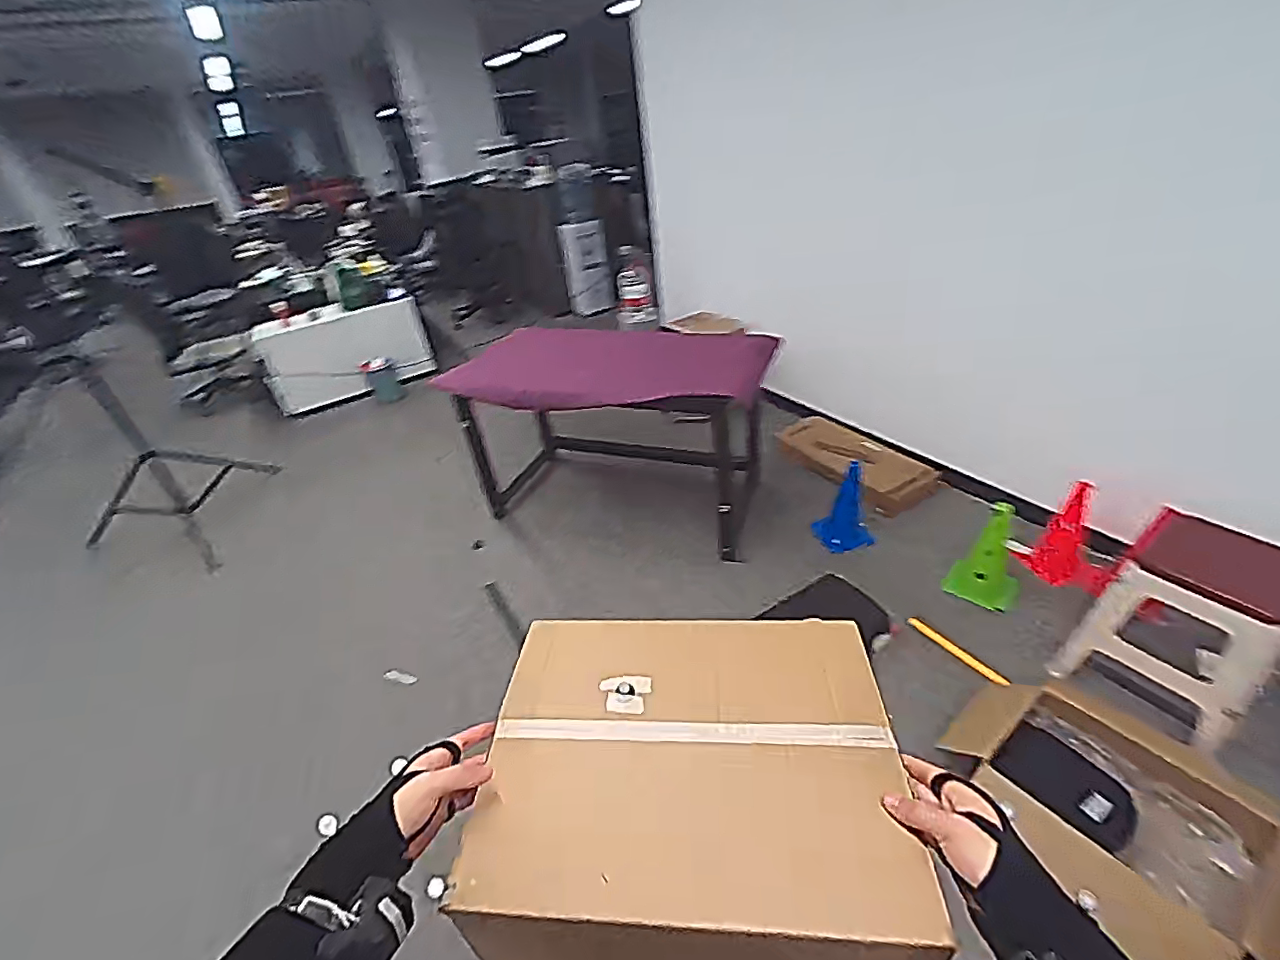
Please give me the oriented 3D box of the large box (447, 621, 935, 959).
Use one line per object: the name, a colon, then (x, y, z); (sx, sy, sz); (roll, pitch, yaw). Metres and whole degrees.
large box: (0.058, 0.394, 0.639); (0.408, 0.320, 0.320); (-3, 32, 6)
